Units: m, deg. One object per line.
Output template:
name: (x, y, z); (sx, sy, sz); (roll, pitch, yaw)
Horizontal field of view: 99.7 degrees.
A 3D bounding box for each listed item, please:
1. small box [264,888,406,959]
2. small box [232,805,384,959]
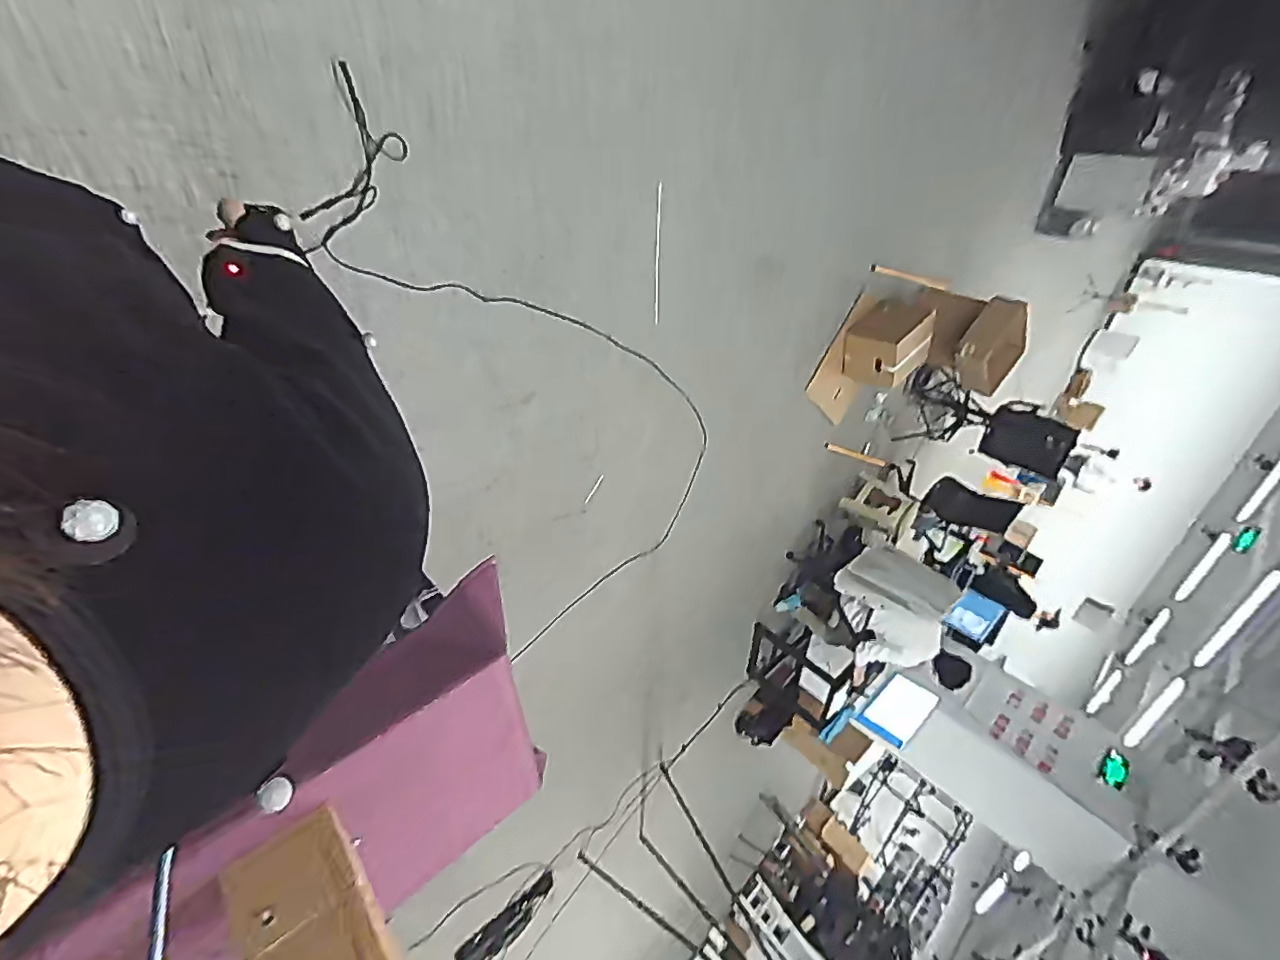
small box: (-0.475, 0.805, 0.854); (0.179, 0.176, 0.168); (-27, 133, -32)
small box: (-0.585, 0.730, 0.952); (0.179, 0.176, 0.168); (-25, 132, -35)
